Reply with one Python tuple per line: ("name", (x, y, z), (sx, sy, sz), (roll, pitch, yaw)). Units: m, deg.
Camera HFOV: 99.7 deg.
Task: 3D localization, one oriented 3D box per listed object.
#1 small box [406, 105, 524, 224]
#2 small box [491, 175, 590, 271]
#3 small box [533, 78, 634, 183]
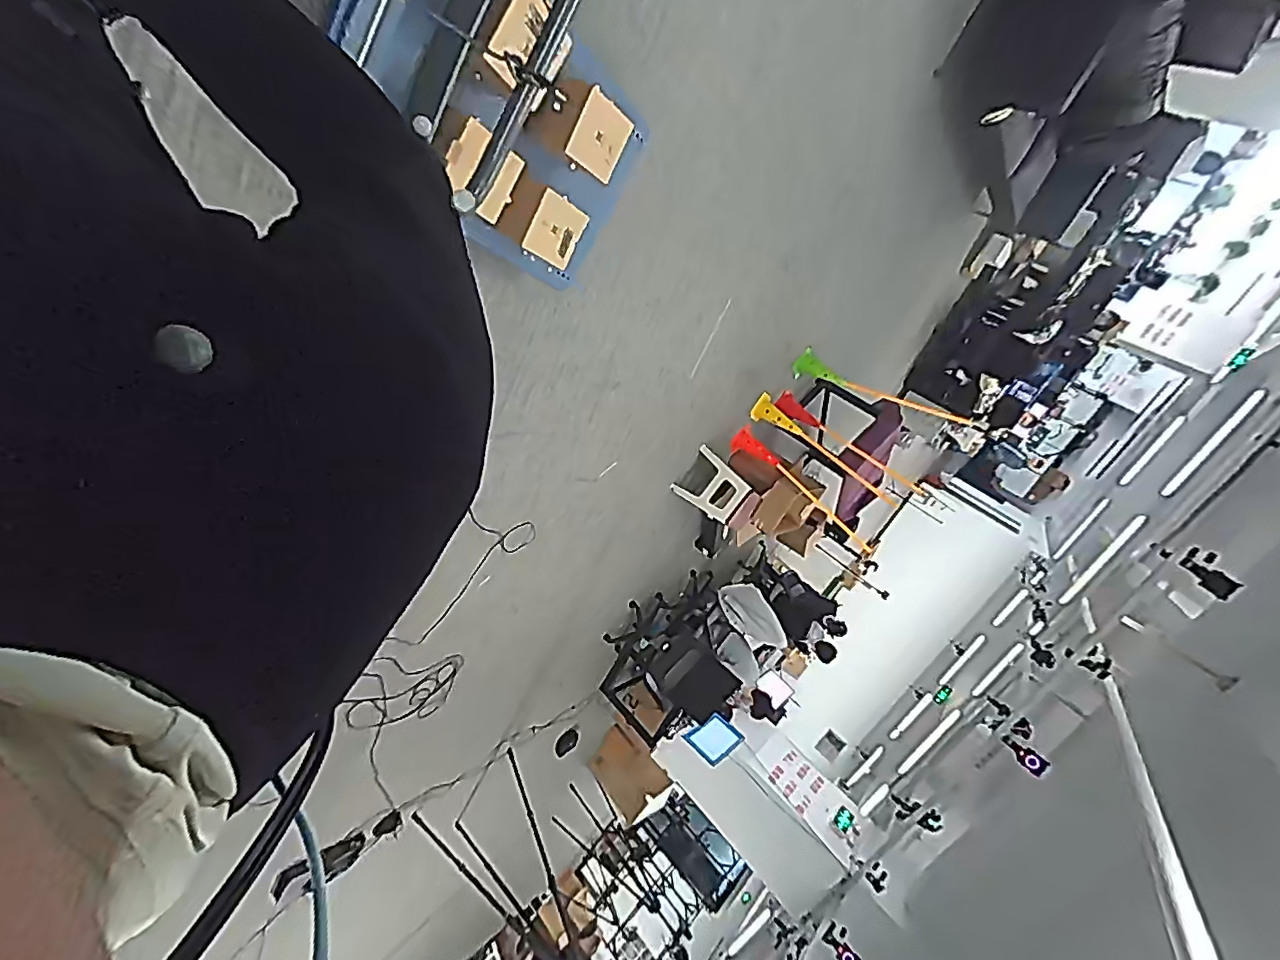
("small box", (-0.420, -0.757, 1.295), (0.179, 0.176, 0.168), (11, 114, -57))
("small box", (-0.282, -0.725, 1.519), (0.179, 0.176, 0.168), (7, 117, -56))
("small box", (-0.156, -0.938, 1.448), (0.179, 0.176, 0.168), (4, 122, -55))
